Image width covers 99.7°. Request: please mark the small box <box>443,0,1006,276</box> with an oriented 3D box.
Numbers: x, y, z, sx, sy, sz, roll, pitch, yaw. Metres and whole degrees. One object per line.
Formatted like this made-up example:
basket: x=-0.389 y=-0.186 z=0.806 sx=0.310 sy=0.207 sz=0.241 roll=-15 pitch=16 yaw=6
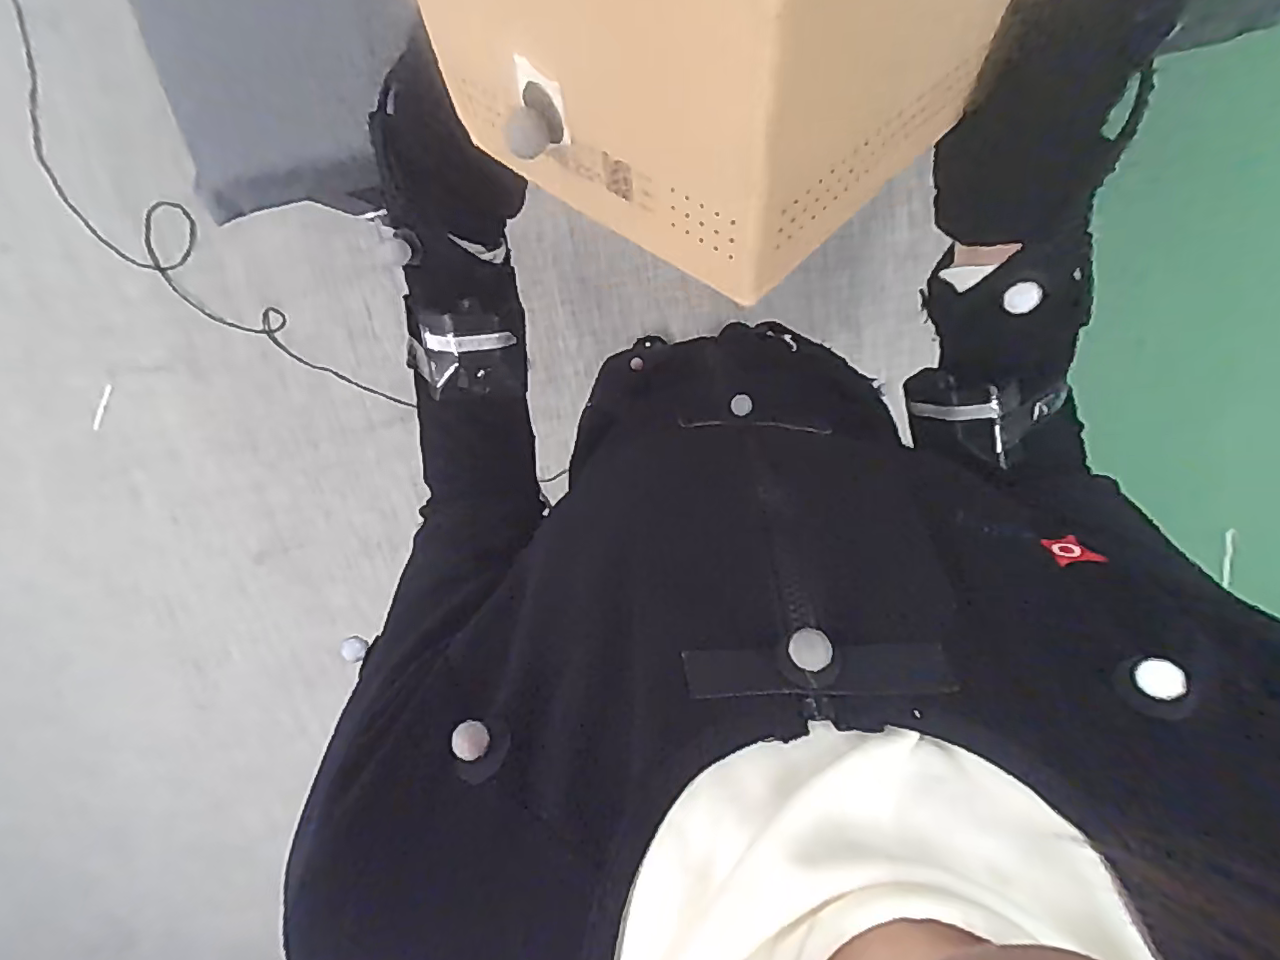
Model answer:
small box: x=0.032 y=-0.209 z=0.179 sx=0.168 sy=0.176 sz=0.179 roll=38 pitch=72 yaw=23
